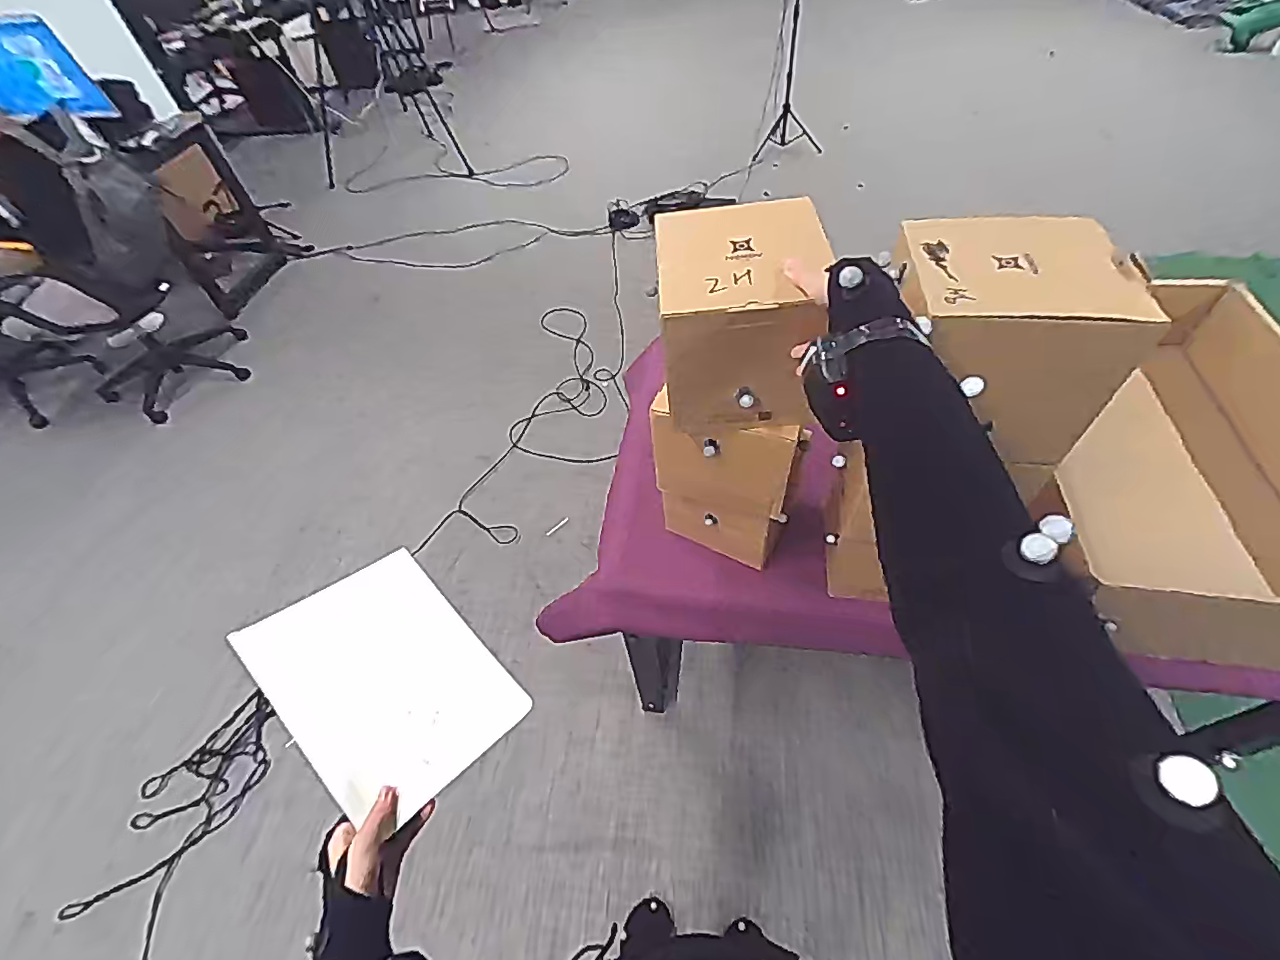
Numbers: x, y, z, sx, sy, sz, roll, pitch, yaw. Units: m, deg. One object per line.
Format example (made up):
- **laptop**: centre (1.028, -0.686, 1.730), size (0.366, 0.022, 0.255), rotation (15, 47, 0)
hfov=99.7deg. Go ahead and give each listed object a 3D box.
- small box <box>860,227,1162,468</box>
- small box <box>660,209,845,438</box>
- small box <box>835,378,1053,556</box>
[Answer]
- **small box**: centre (0.336, -0.128, 0.538), size (0.179, 0.176, 0.168), rotation (5, 50, 9)
- **small box**: centre (0.109, -0.168, 0.596), size (0.168, 0.176, 0.179), rotation (-4, 54, 5)
- **small box**: centre (0.349, -0.023, 0.664), size (0.179, 0.176, 0.168), rotation (5, 50, 10)
